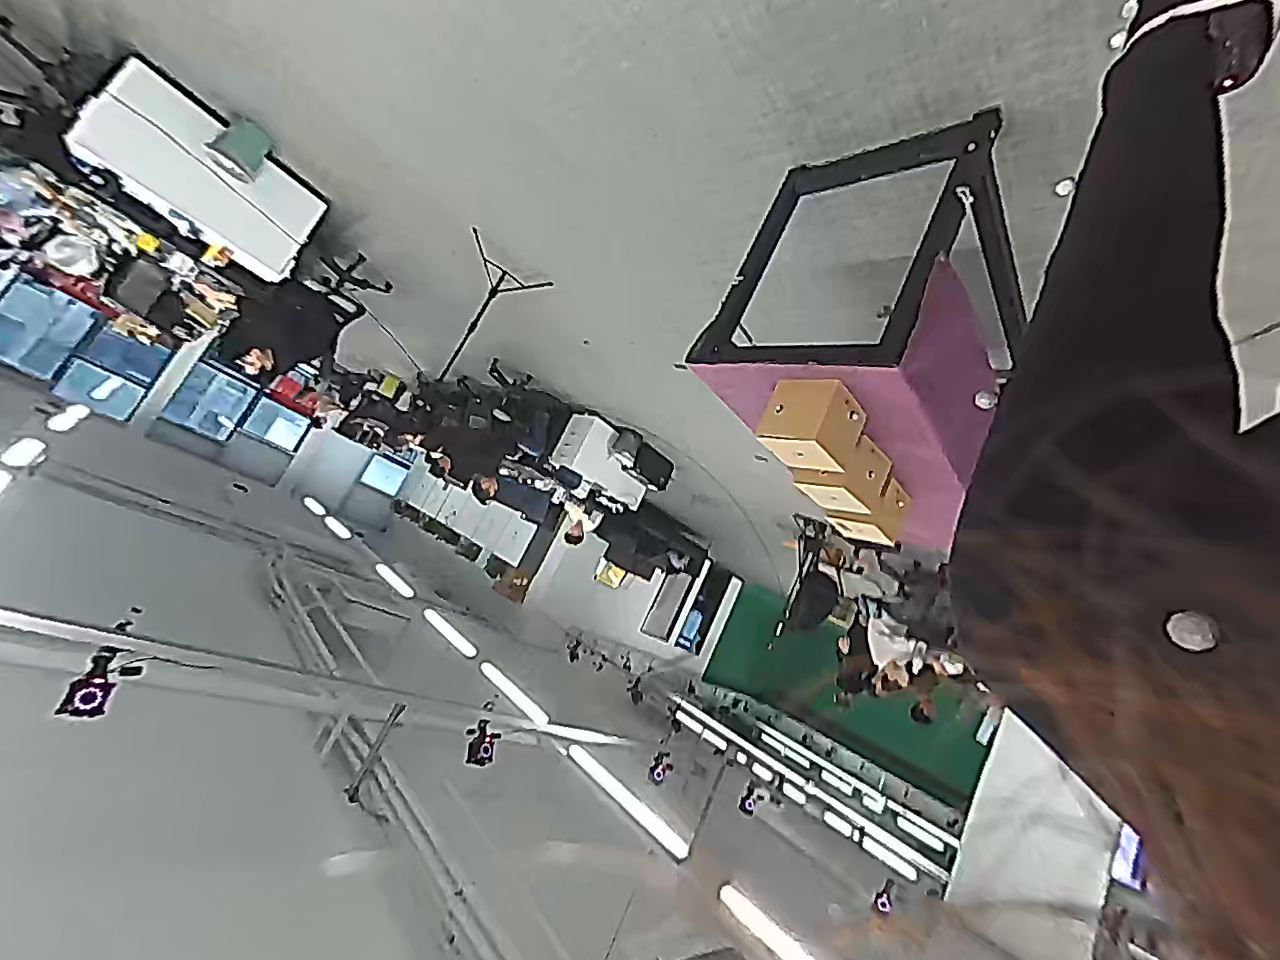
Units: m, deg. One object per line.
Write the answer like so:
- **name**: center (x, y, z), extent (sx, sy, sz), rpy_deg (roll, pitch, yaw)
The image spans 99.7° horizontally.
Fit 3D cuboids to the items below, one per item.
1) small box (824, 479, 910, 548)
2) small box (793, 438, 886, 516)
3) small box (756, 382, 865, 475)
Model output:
- **small box**: center (0.725, 0.094, 1.724), extent (0.168, 0.176, 0.179), rpy_deg (35, 165, -38)
- **small box**: center (0.578, -0.017, 1.548), extent (0.168, 0.176, 0.179), rpy_deg (34, 167, -32)
- **small box**: center (0.429, -0.134, 1.353), extent (0.168, 0.176, 0.179), rpy_deg (34, 167, -38)
